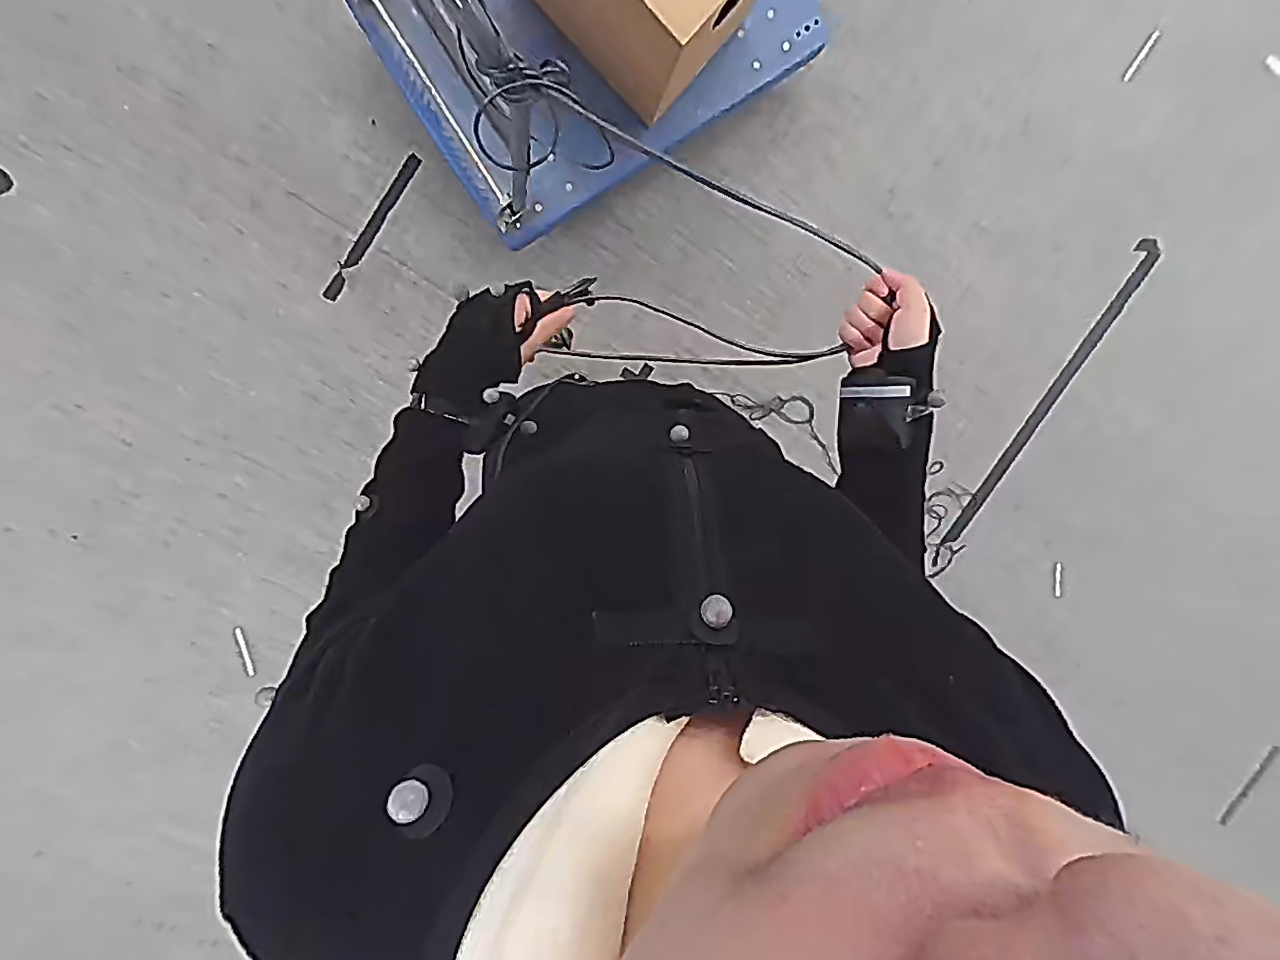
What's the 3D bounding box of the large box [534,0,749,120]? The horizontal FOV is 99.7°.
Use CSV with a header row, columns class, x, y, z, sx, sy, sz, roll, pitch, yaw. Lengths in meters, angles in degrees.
class,x,y,z,sx,sy,sz,roll,pitch,yaw
large box,-0.002,-0.984,0.978,0.408,0.320,0.320,41,93,-16
